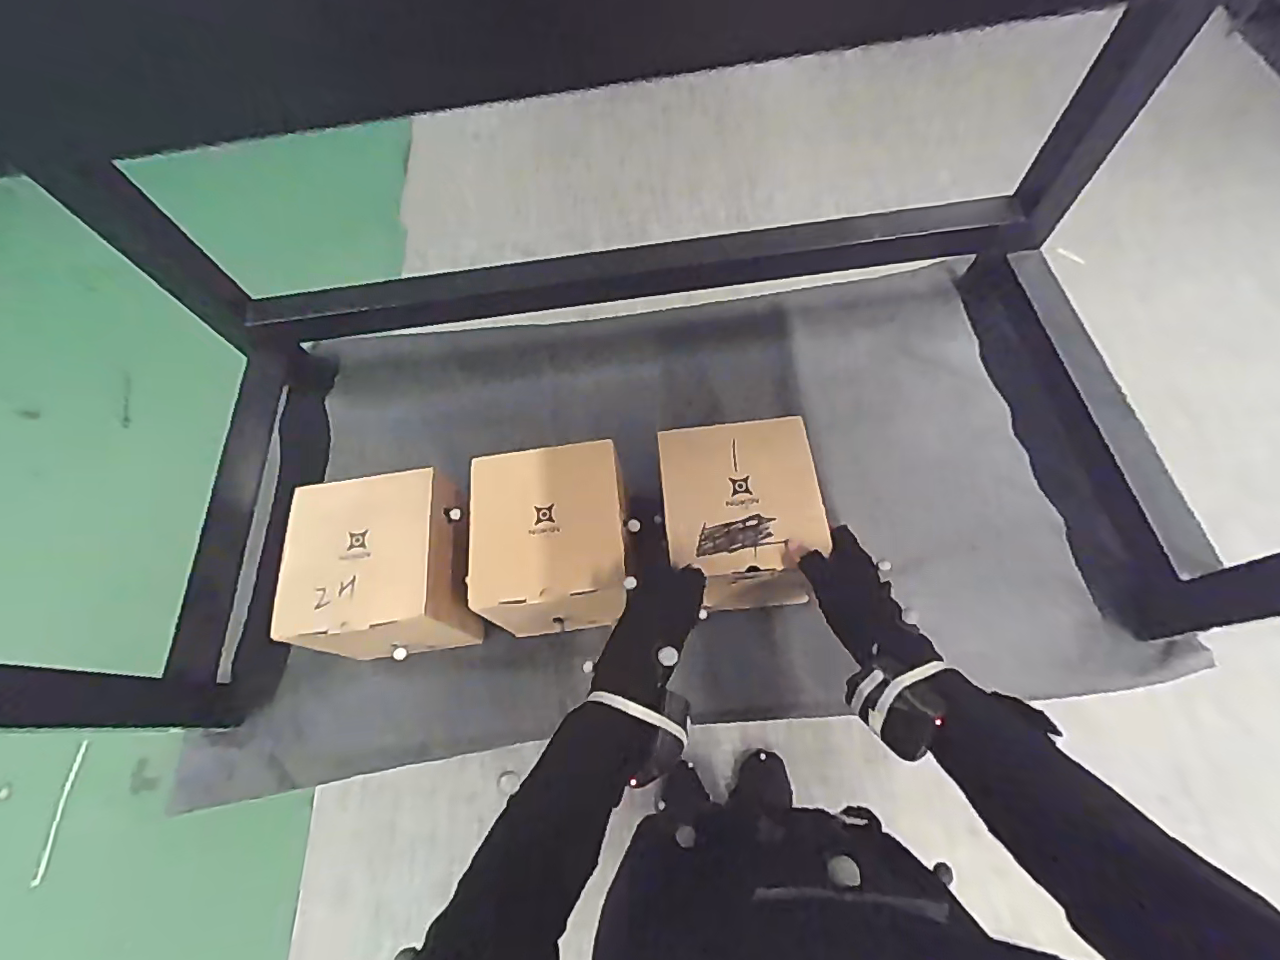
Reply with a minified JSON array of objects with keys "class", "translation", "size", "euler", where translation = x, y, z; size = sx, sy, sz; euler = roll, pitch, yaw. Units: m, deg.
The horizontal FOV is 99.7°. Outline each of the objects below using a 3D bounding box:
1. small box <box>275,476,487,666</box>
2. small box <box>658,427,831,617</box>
[{"class":"small box","translation":[-0.296,0.117,0.661],"size":[0.168,0.176,0.179],"euler":[-8,63,2]},{"class":"small box","translation":[0.114,0.060,0.647],"size":[0.168,0.176,0.179],"euler":[-6,62,3]}]
